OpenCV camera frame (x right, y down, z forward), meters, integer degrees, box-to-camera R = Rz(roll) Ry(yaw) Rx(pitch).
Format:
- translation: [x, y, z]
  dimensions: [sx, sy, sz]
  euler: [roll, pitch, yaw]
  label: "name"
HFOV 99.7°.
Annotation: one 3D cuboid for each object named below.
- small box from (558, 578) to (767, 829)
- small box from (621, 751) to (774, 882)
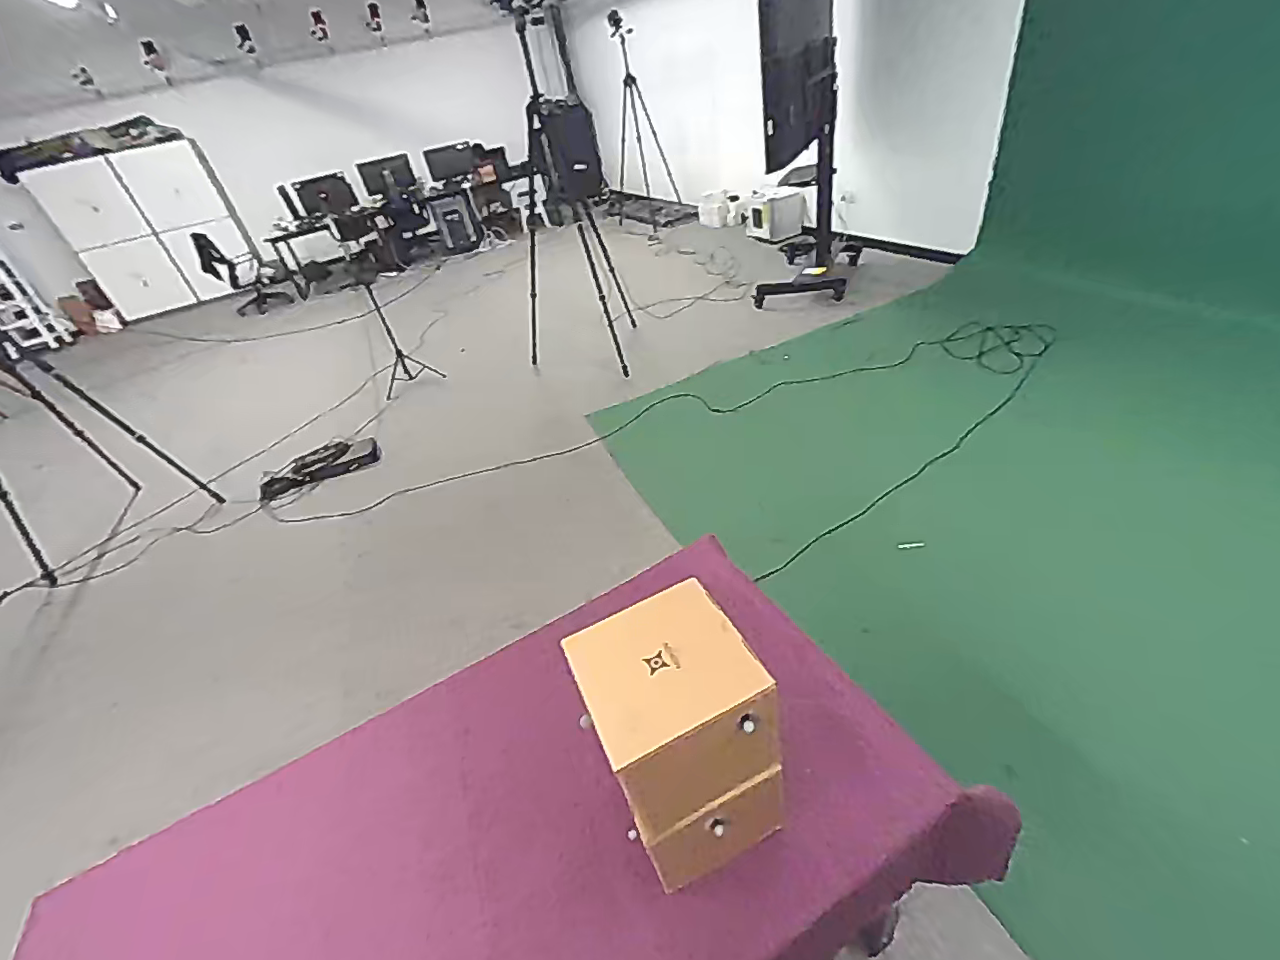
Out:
- translation: [0.030, 0.251, 0.615]
  dimensions: [0.179, 0.176, 0.168]
  euler: [-23, 38, -14]
  label: "small box"
- translation: [0.062, 0.380, 0.708]
  dimensions: [0.179, 0.176, 0.168]
  euler: [-22, 38, -12]
  label: "small box"
